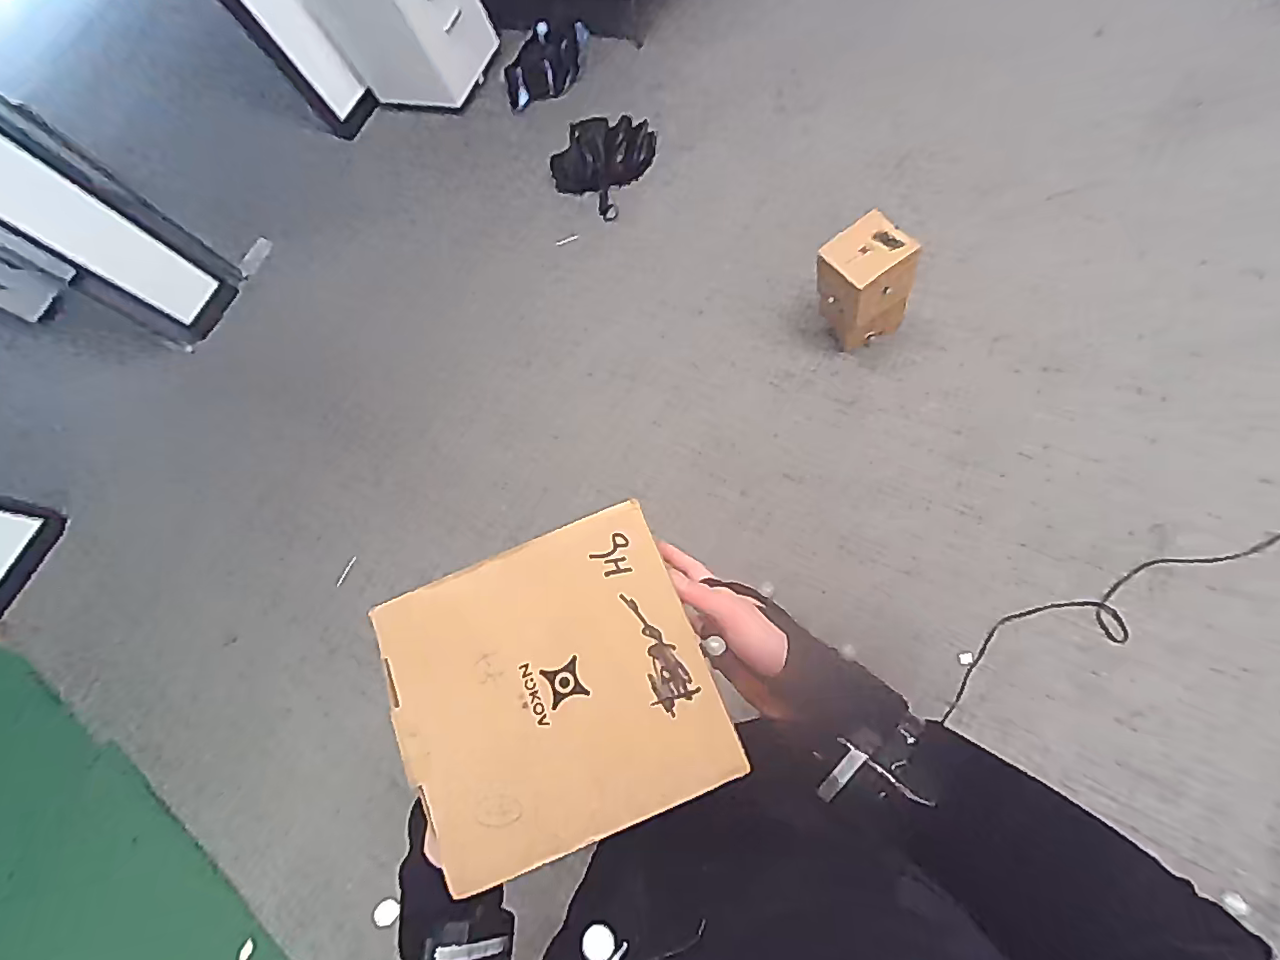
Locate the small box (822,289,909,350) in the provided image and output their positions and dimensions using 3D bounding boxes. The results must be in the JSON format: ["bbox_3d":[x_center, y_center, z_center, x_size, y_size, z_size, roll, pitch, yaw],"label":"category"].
[{"bbox_3d":[0.627,-0.504,1.528,0.168,0.176,0.179,-24,67,9],"label":"small box"}]

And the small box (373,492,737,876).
[{"bbox_3d":[-0.047,0.127,0.386,0.179,0.176,0.168,-22,78,0],"label":"small box"}]

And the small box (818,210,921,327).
[{"bbox_3d":[0.571,-0.531,1.373,0.179,0.176,0.168,-35,64,5],"label":"small box"}]
